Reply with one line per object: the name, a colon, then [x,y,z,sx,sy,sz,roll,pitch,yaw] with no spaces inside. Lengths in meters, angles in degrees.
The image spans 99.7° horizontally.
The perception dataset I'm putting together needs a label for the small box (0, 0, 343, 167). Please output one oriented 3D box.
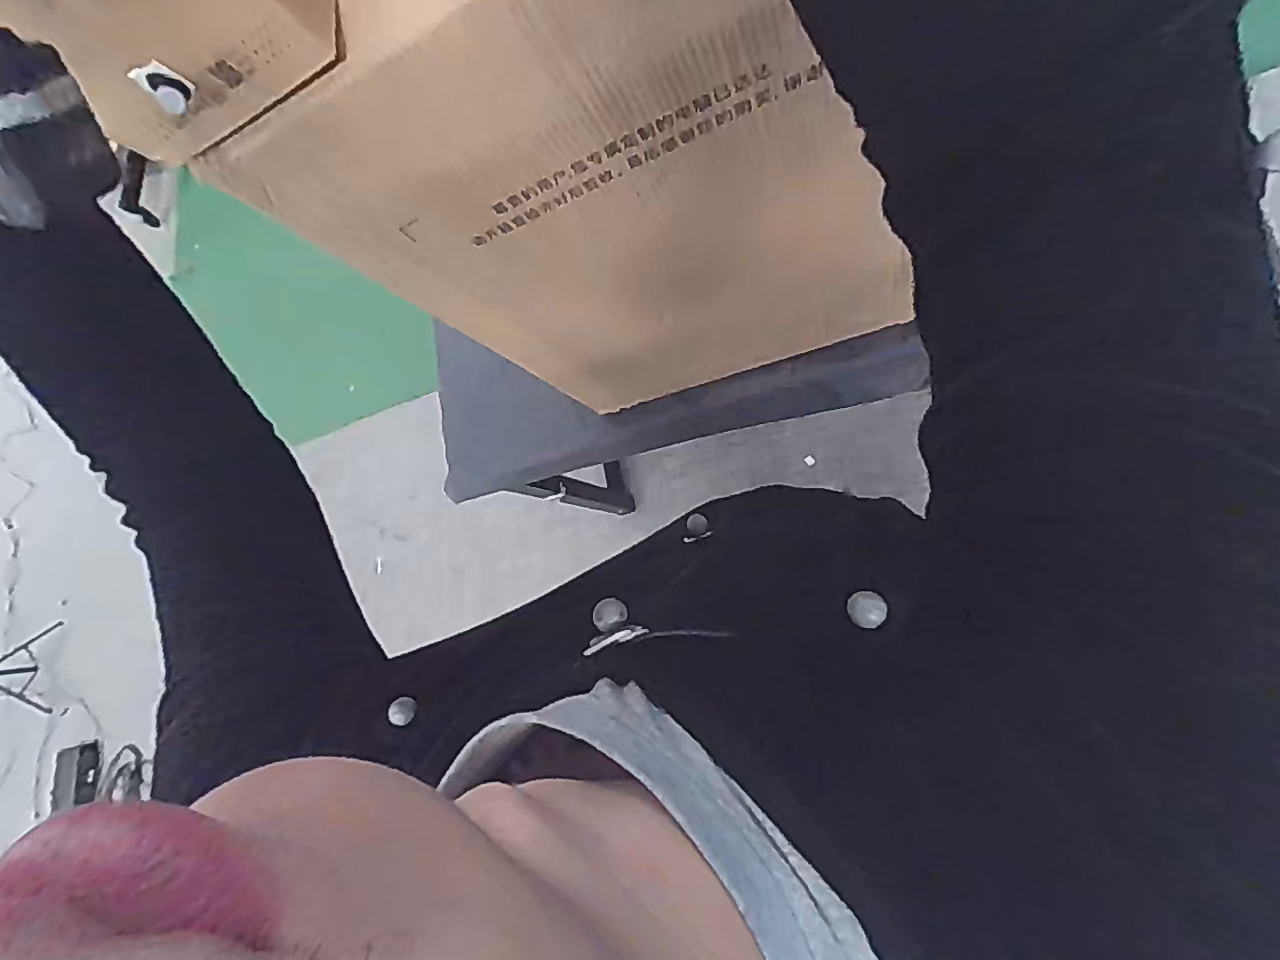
small box: [-0.289,-0.321,0.290,0.168,0.176,0.179,-15,77,24]
